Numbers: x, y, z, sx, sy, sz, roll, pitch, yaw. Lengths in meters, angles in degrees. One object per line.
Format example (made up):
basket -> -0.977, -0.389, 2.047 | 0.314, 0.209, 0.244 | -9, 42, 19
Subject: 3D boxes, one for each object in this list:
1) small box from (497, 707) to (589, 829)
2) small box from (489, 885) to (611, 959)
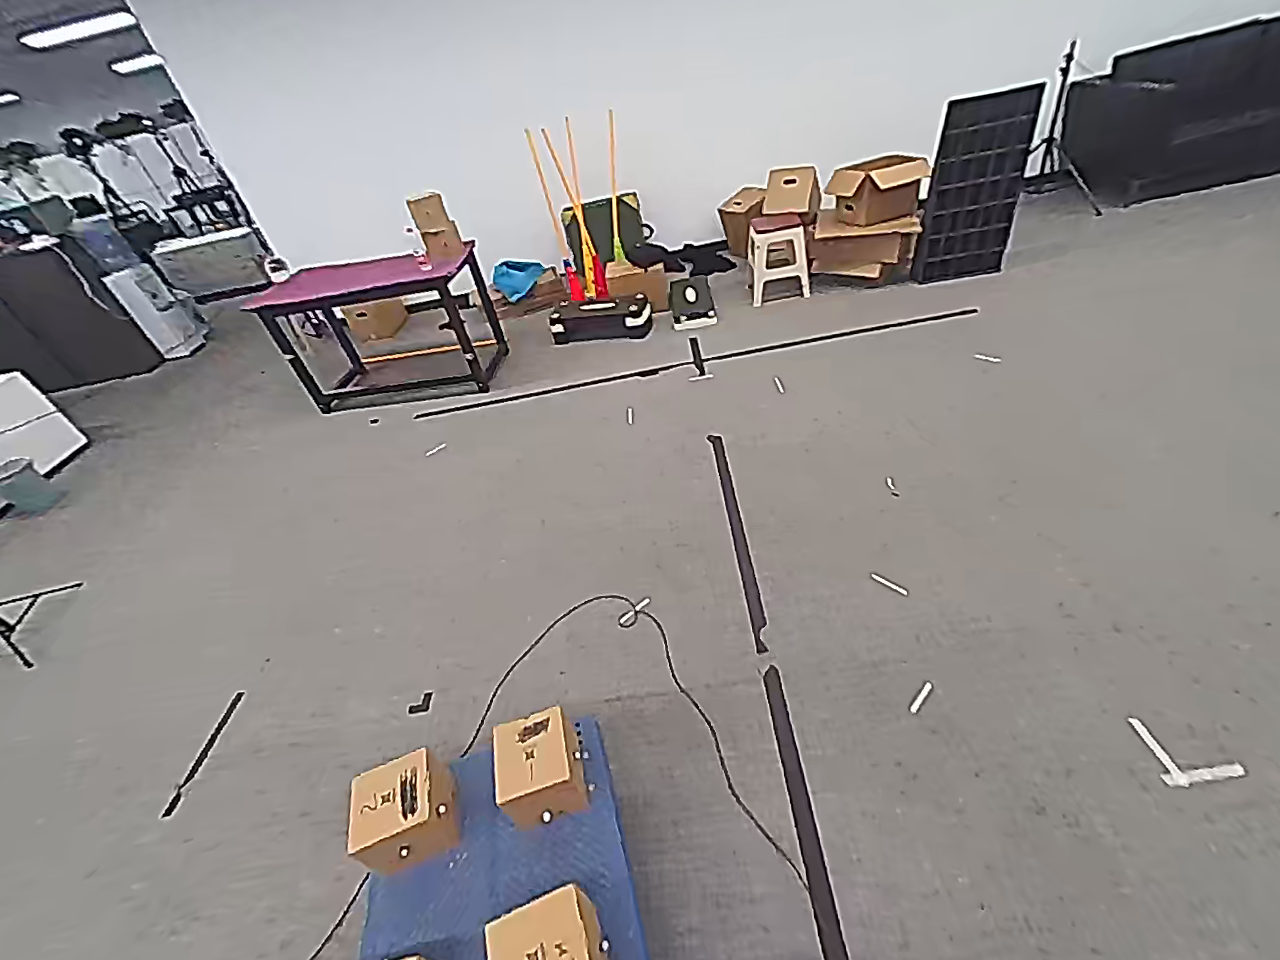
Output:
small box -> -0.226, 0.672, 1.261 | 0.168, 0.176, 0.179 | -17, 40, -4
small box -> -0.153, 0.887, 0.979 | 0.179, 0.176, 0.168 | -21, 39, -9
